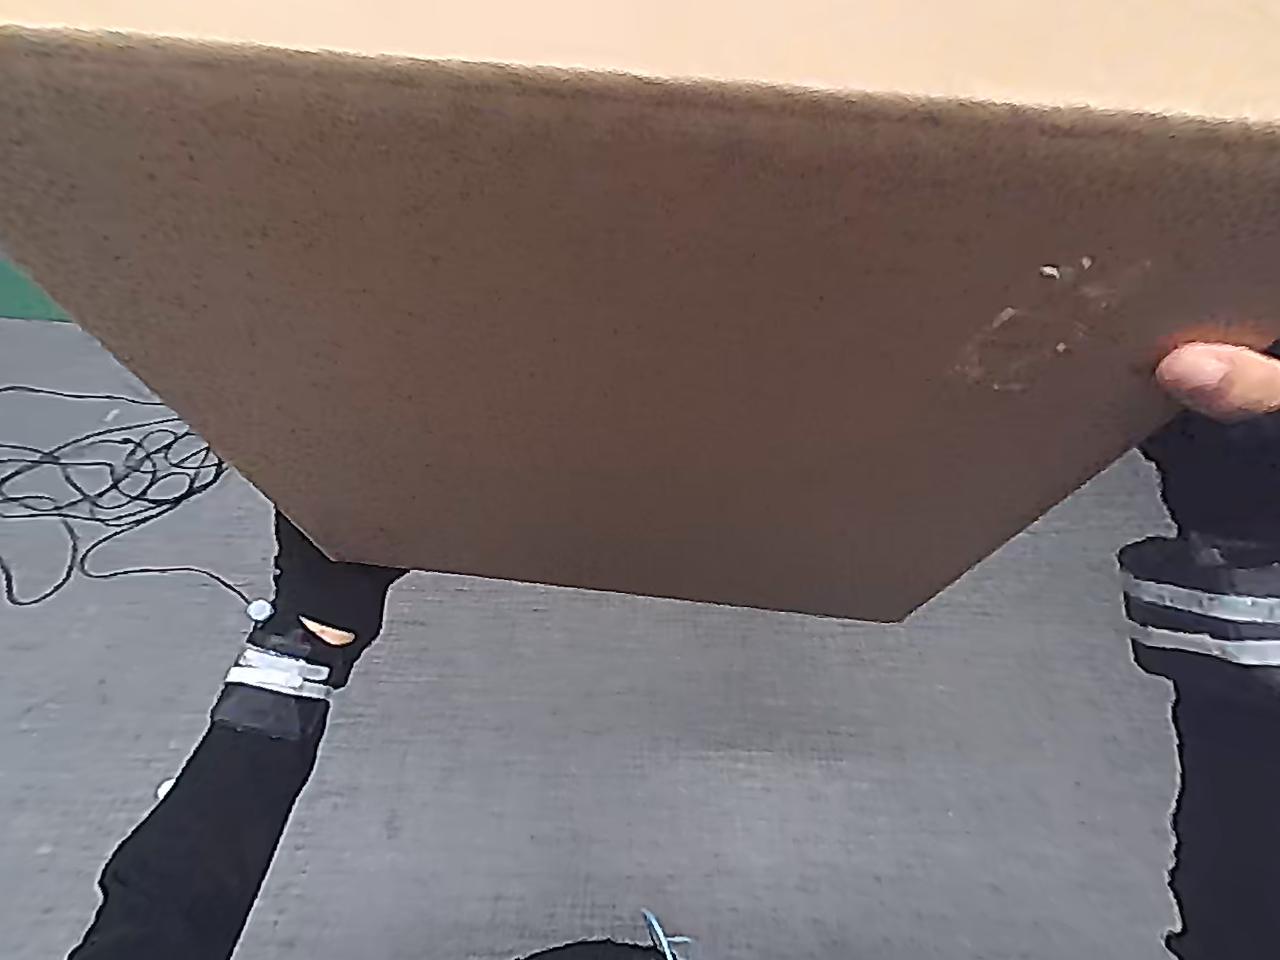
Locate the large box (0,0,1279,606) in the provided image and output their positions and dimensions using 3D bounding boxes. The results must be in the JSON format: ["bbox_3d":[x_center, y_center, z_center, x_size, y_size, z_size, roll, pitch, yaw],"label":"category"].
[{"bbox_3d":[0.004,-0.134,0.340,0.408,0.320,0.320,6,58,2],"label":"large box"}]
